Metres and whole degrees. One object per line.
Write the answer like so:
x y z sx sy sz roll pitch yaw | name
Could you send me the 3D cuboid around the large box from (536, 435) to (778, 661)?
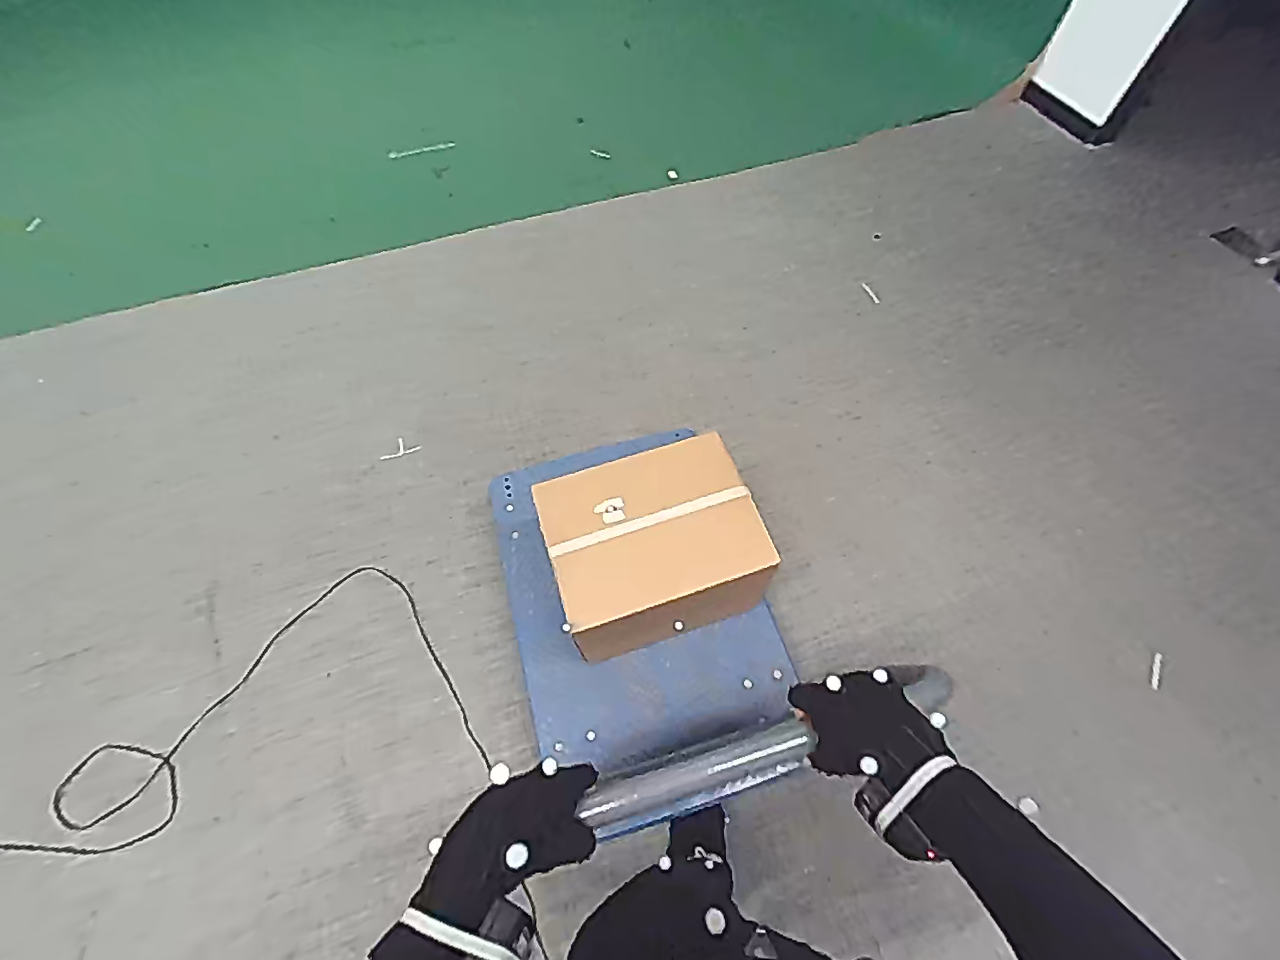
0.031 0.160 1.187 0.408 0.320 0.320 -19 62 -7 | large box
